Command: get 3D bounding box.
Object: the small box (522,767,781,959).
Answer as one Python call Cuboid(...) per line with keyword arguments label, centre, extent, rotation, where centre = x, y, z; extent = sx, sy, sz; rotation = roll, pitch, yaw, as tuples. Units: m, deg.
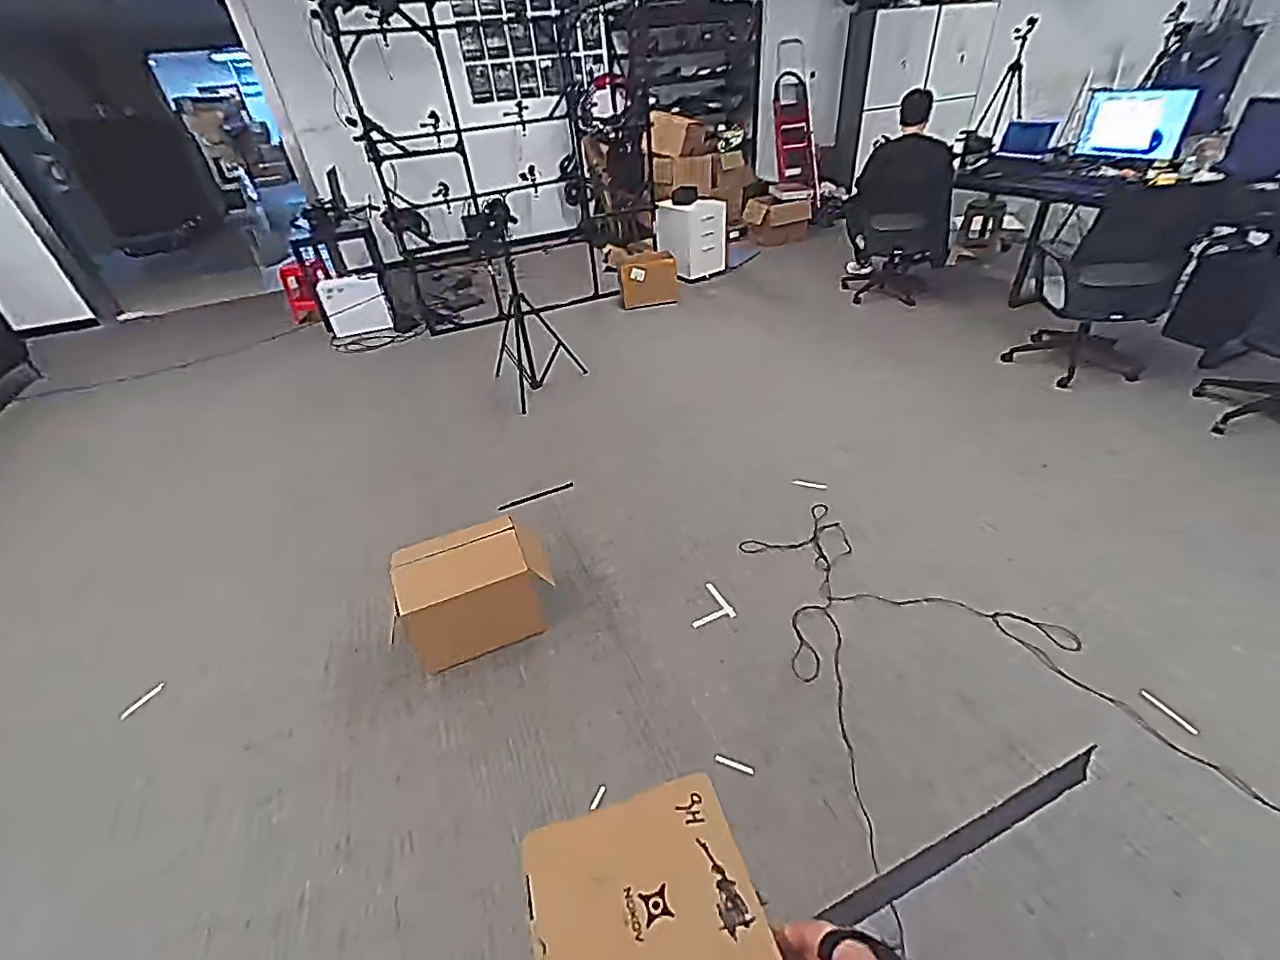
Cuboid(label="small box", centre=(0.006, 0.397, 0.478), extent=(0.179, 0.176, 0.168), rotation=(-13, 40, -13))
